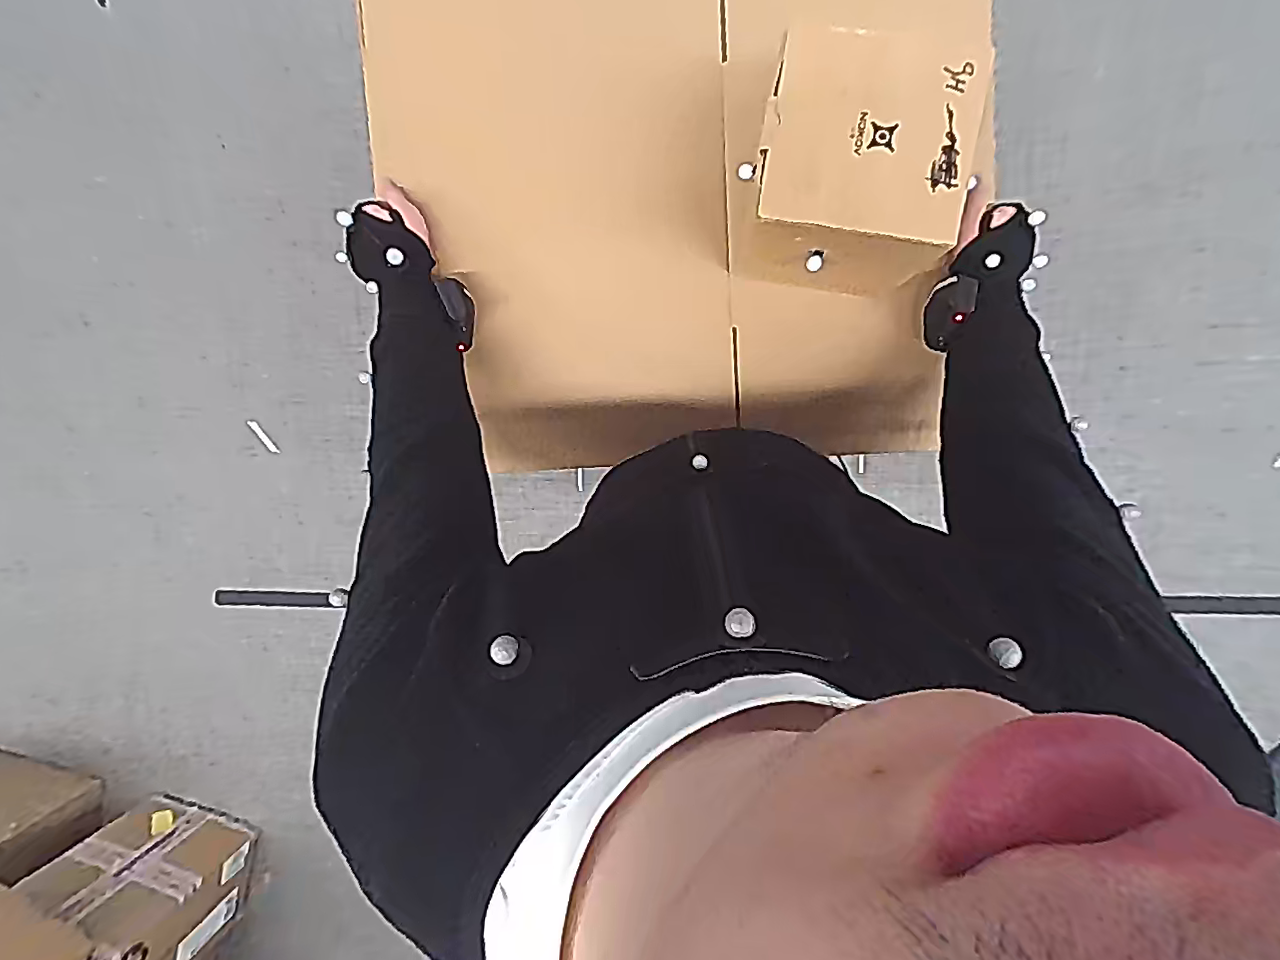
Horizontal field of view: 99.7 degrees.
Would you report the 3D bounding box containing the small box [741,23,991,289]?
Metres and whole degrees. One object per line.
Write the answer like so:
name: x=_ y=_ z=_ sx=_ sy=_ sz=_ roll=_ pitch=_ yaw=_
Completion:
small box: x=0.206 y=-0.307 z=0.547 sx=0.179 sy=0.176 sz=0.168 roll=10 pitch=95 yaw=4
